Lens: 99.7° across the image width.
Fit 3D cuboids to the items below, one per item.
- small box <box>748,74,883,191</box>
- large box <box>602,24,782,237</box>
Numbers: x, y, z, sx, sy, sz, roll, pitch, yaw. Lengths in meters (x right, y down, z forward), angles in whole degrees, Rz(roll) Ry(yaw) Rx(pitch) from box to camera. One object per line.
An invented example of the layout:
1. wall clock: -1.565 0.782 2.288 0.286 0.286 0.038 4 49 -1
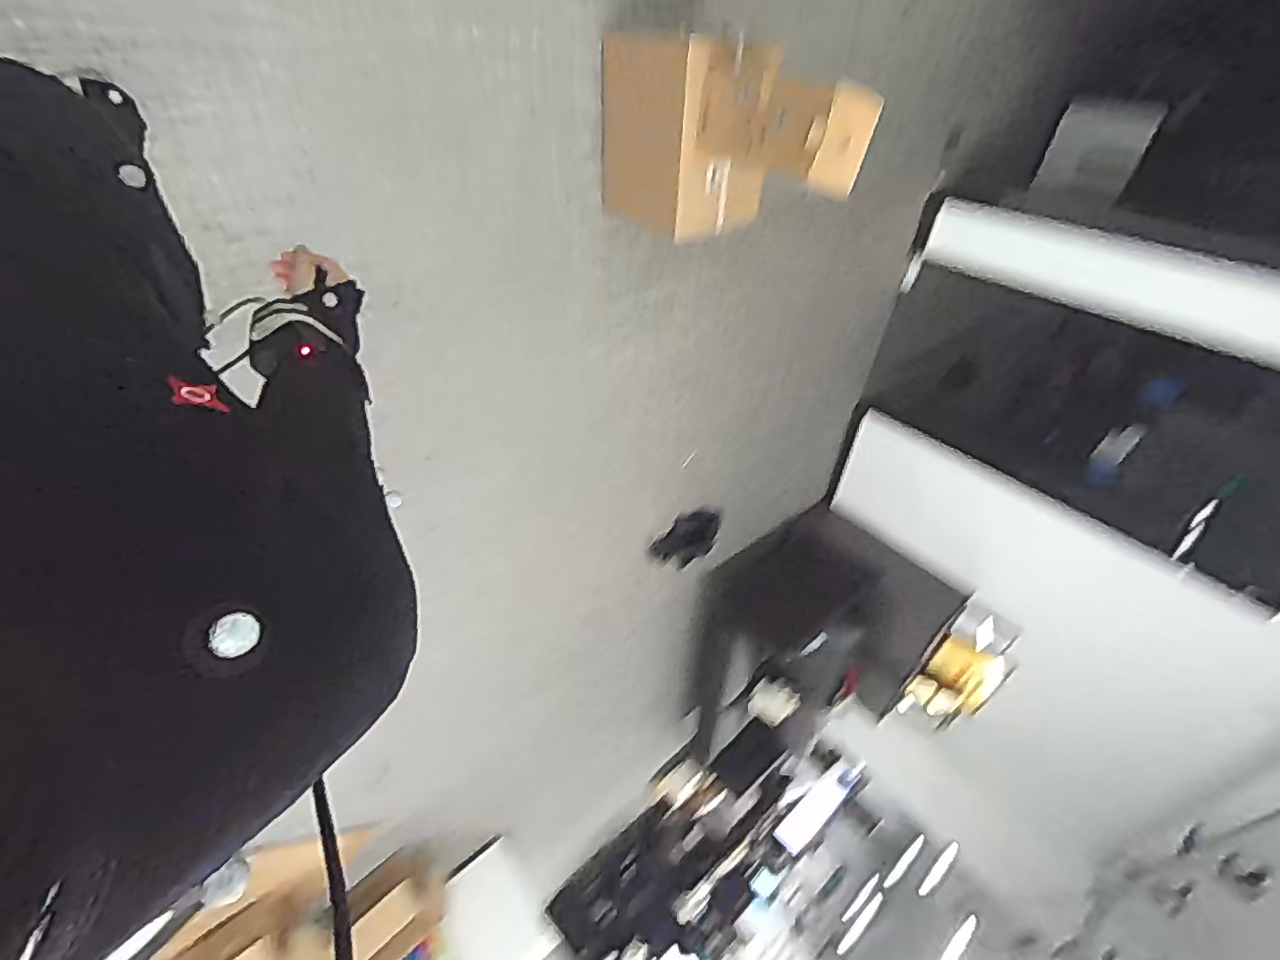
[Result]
1. small box: 0.358 -0.718 1.121 0.179 0.176 0.168 -15 133 -39
2. large box: 0.115 -0.904 1.393 0.320 0.320 0.408 -27 140 -28
